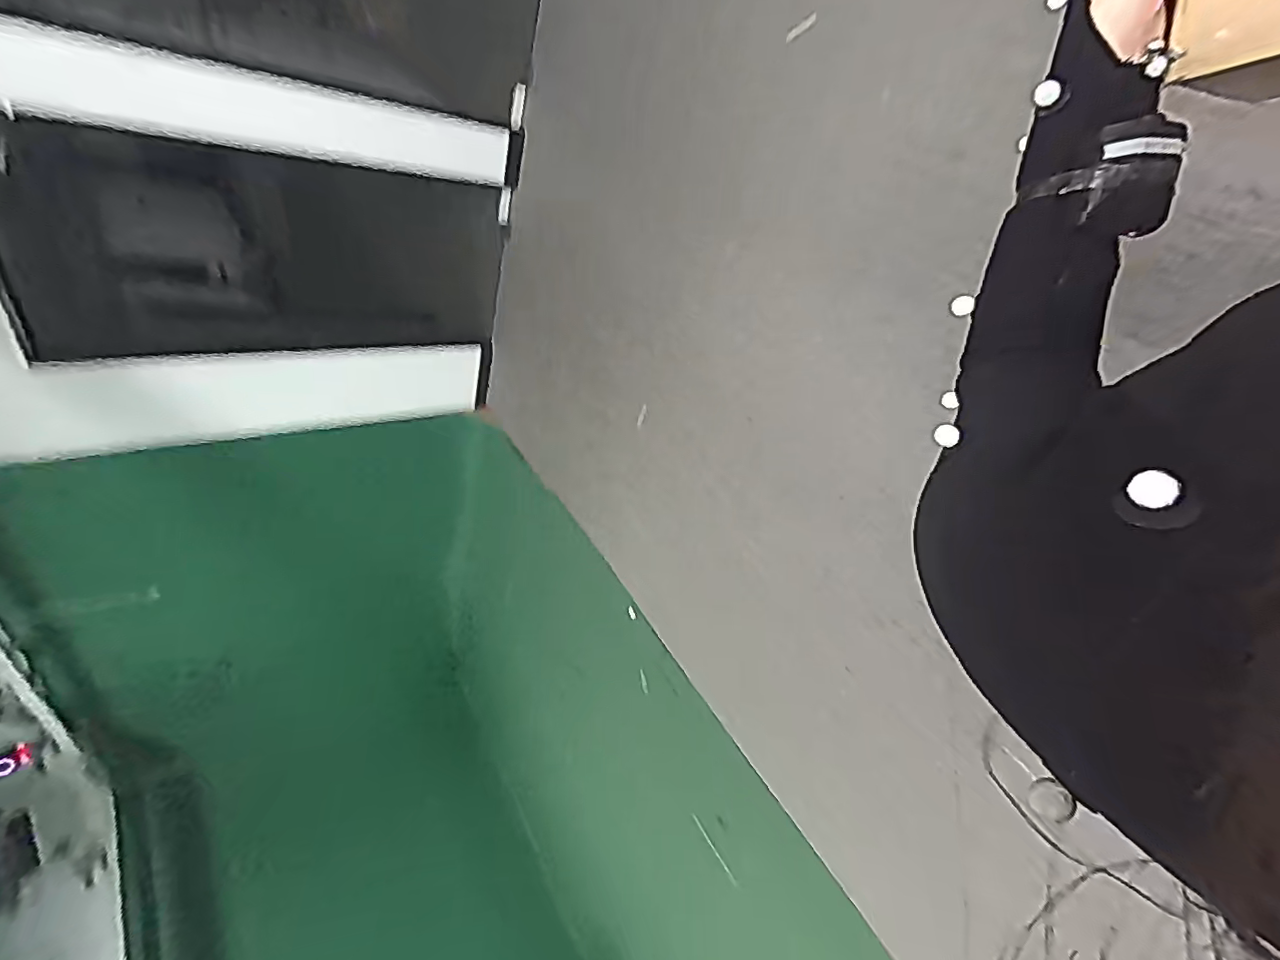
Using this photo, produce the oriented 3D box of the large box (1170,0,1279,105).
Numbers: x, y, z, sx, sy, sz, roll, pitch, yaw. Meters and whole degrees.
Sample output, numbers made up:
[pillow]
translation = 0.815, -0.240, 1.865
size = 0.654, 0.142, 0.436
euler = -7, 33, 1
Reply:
[large box]
translation = 0.574, -0.422, 0.246
size = 0.408, 0.320, 0.320
euler = 16, 121, 52
